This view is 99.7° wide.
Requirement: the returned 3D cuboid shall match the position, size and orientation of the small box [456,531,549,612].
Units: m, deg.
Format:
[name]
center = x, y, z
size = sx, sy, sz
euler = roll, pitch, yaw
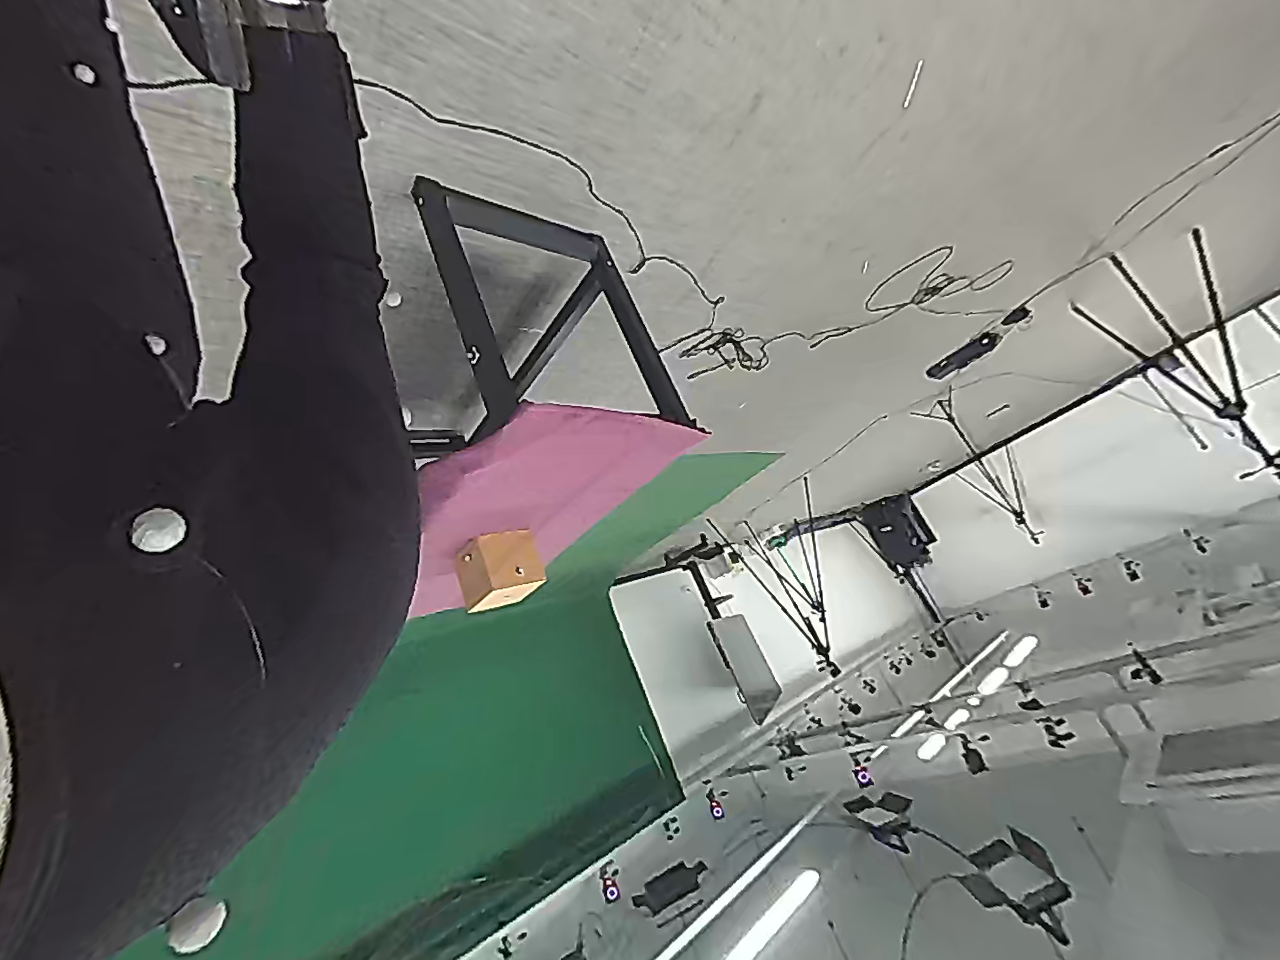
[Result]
[small box]
center = -0.397, 0.255, 1.548
size = 0.179, 0.176, 0.168
euler = -1, 150, -47
